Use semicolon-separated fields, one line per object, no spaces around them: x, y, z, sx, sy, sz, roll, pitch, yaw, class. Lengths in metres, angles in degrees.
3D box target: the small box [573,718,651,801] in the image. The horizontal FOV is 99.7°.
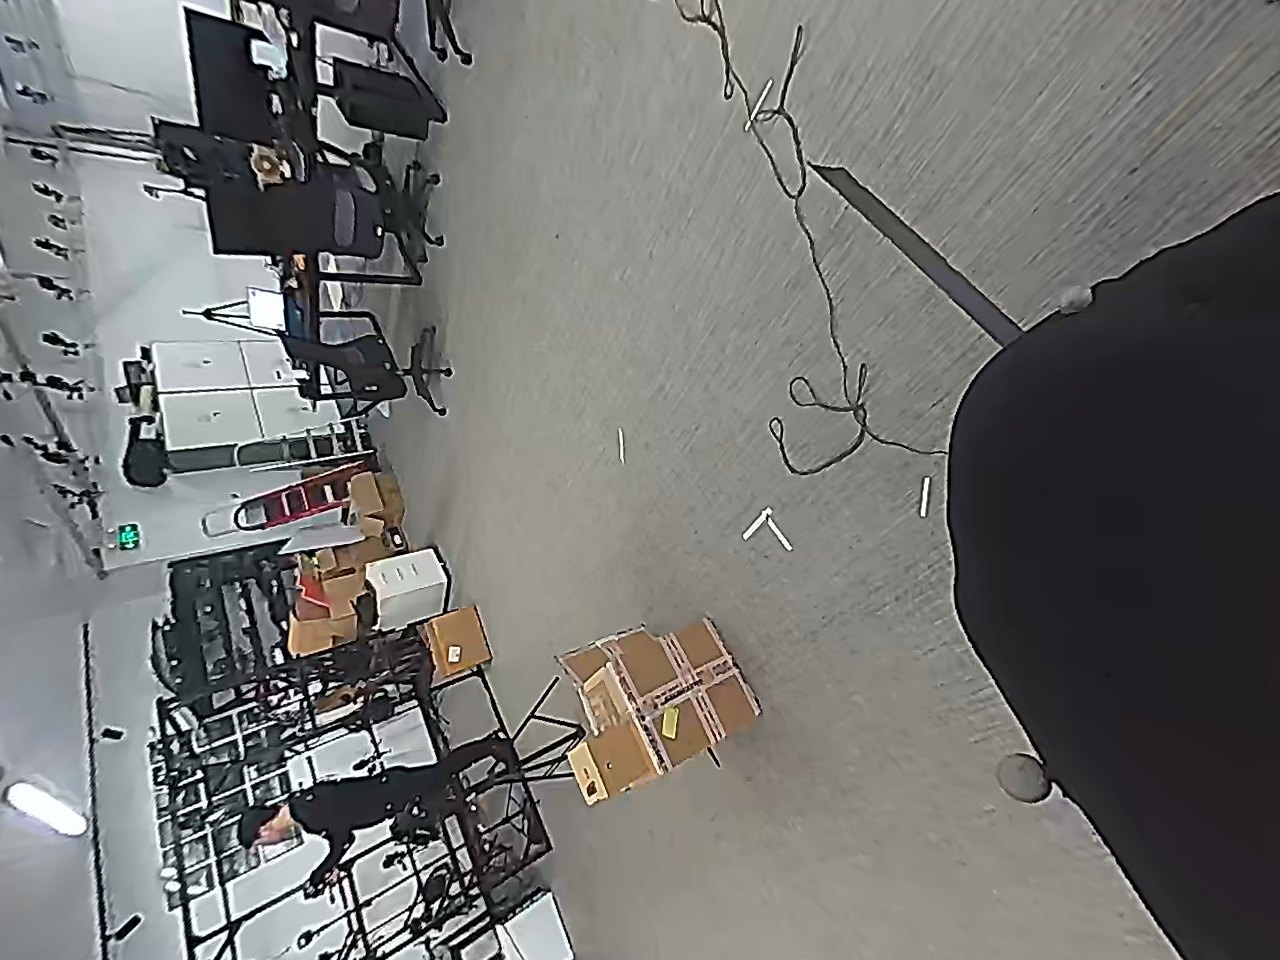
-0.090;0.924;1.792;0.168;0.176;0.179;-51;59;43;small box
